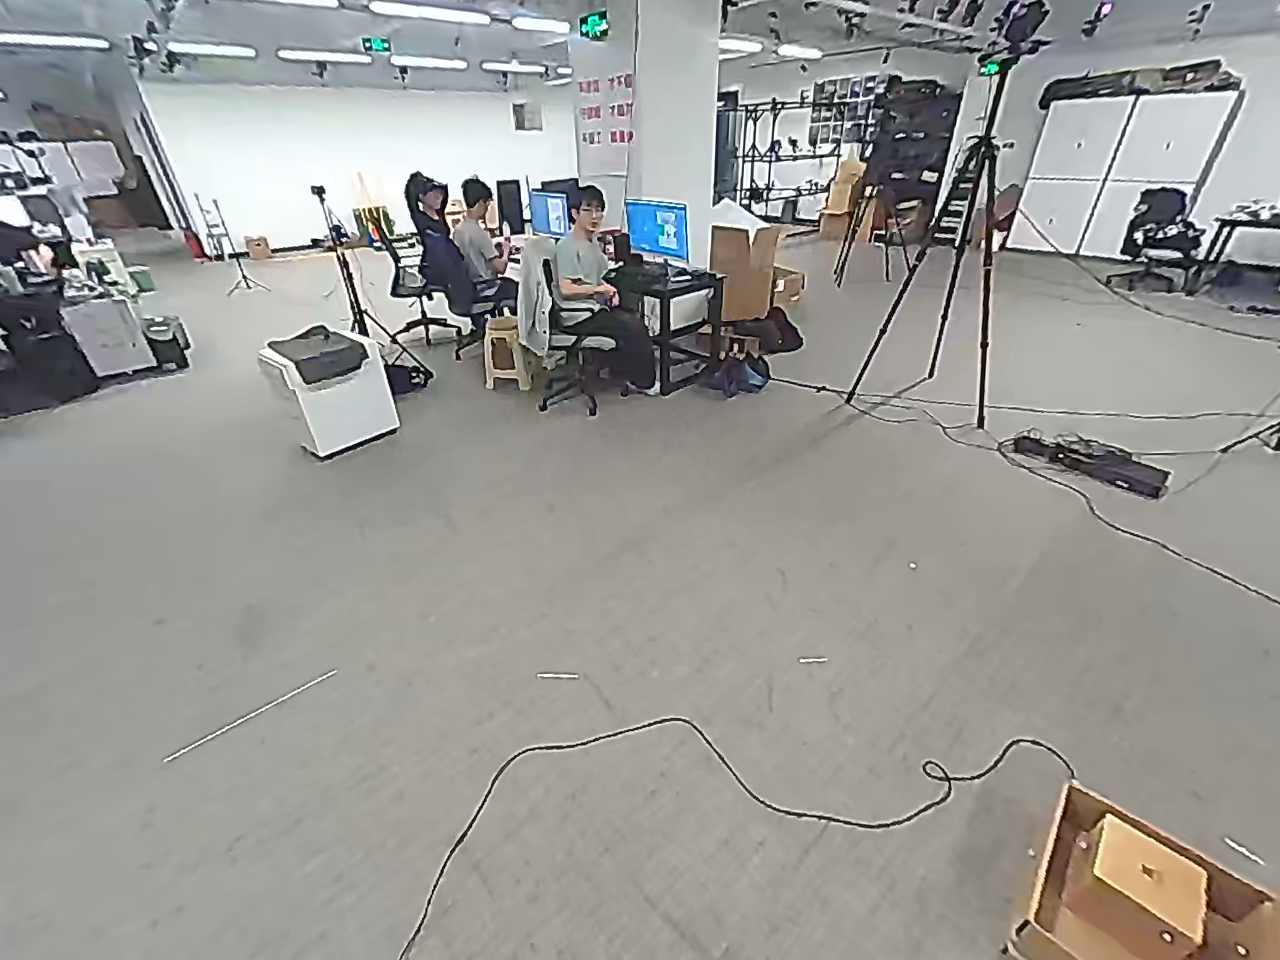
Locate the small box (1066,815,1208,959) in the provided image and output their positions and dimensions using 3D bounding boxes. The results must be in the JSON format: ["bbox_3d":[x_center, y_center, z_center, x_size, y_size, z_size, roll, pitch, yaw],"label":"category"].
[{"bbox_3d":[1.074,0.893,1.178,0.179,0.176,0.168,27,44,36],"label":"small box"}]
